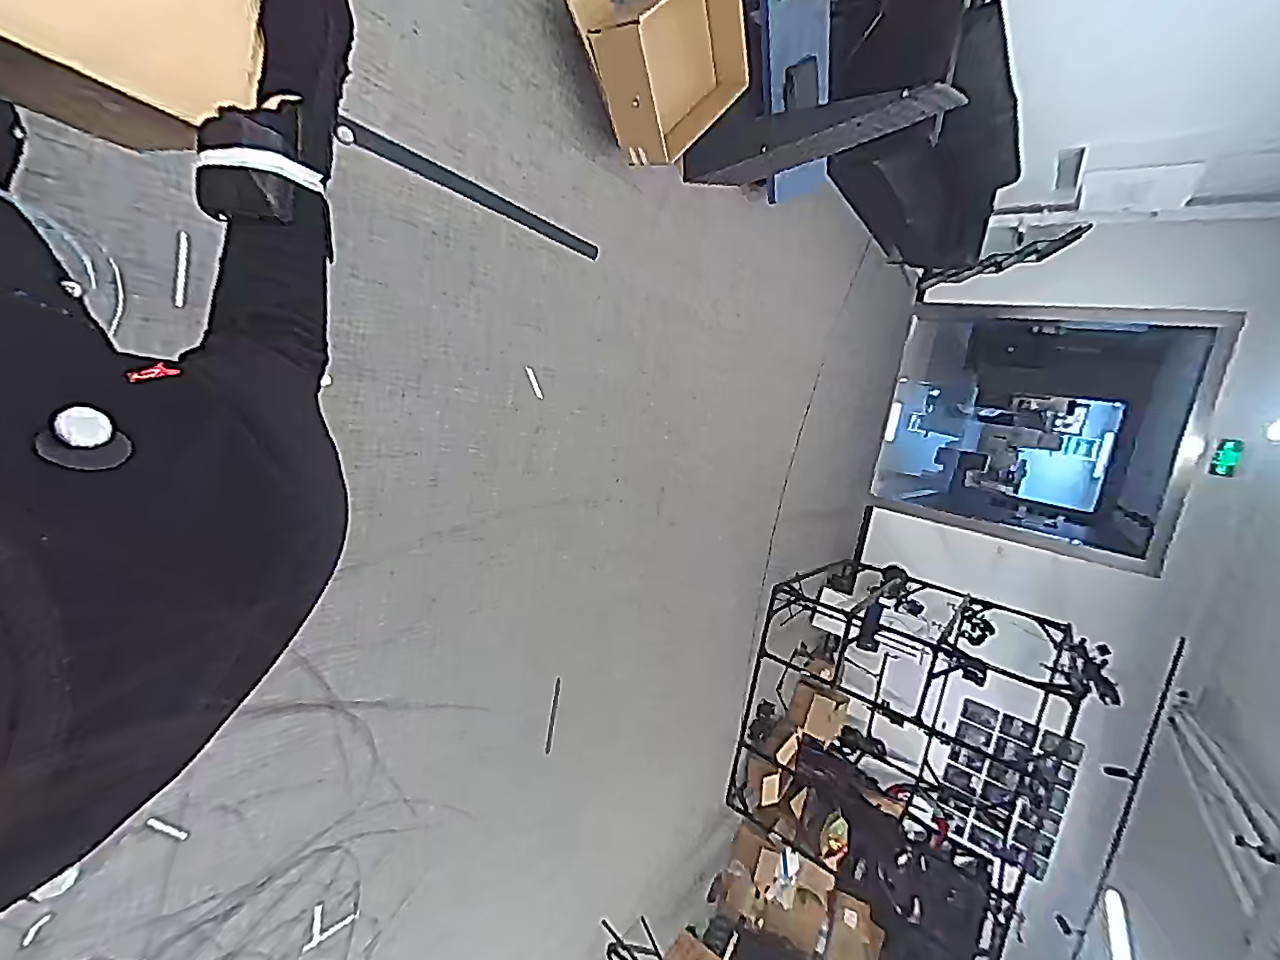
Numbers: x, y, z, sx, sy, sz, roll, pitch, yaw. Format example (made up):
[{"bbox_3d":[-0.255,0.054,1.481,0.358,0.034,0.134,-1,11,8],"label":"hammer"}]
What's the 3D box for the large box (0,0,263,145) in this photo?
[{"bbox_3d":[-0.497,-0.458,0.314,0.408,0.320,0.320,4,106,-56],"label":"large box"}]
